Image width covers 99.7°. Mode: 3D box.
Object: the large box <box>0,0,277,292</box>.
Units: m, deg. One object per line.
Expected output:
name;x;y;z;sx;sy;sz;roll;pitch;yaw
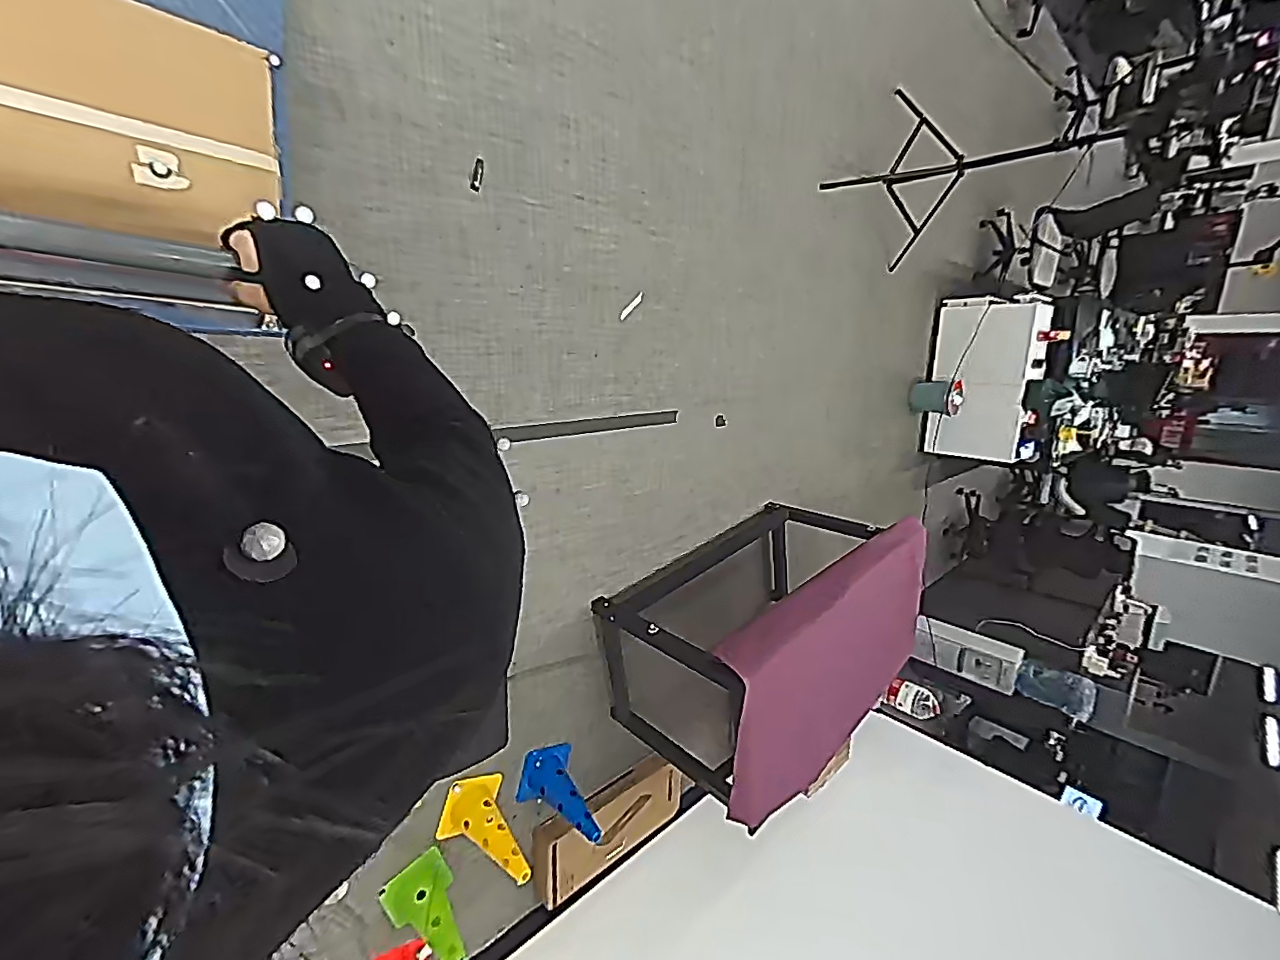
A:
large box;-0.807;-0.474;0.790;0.408;0.320;0.320;-6;104;-43
